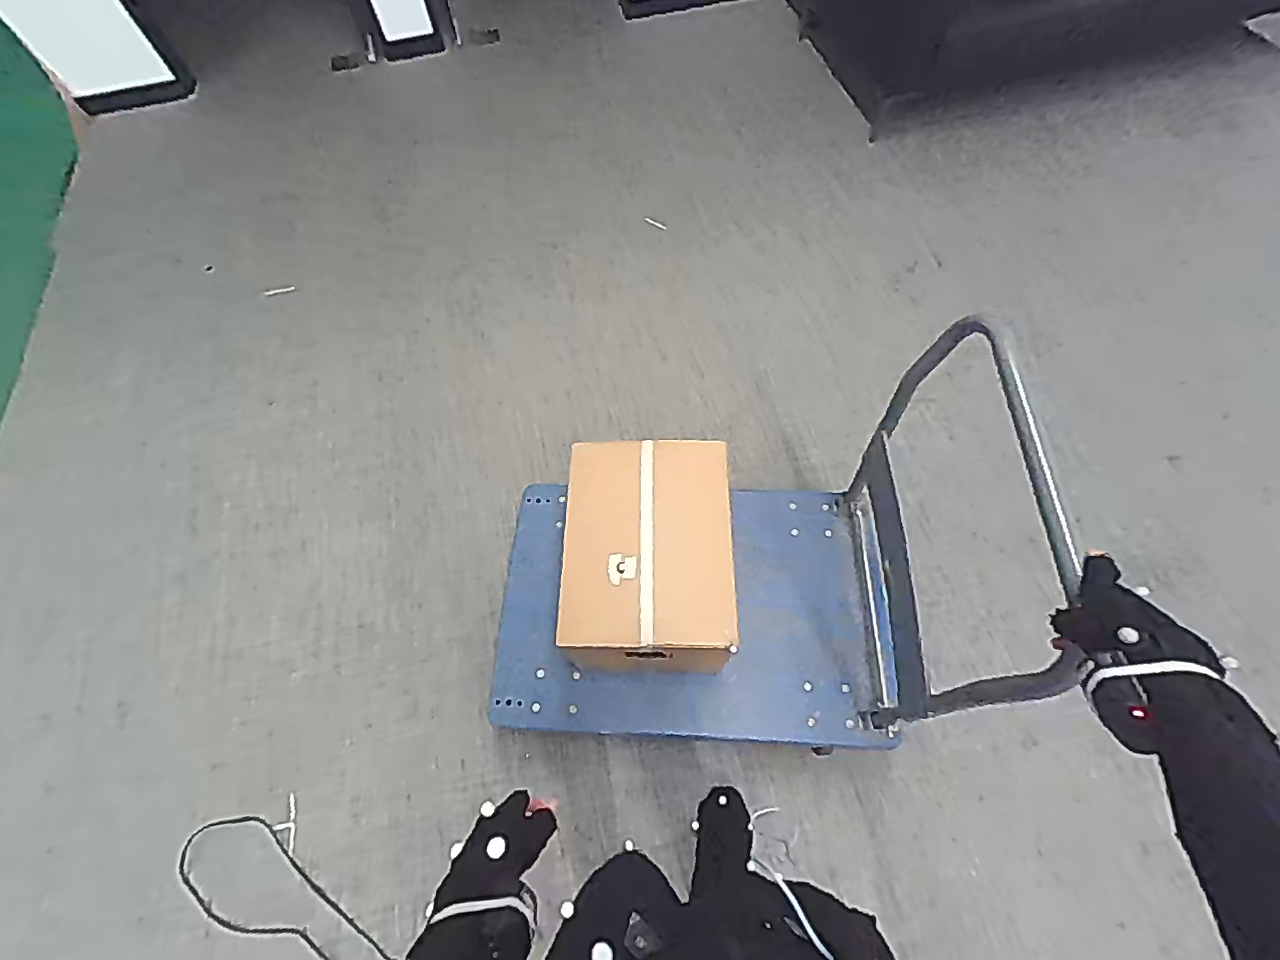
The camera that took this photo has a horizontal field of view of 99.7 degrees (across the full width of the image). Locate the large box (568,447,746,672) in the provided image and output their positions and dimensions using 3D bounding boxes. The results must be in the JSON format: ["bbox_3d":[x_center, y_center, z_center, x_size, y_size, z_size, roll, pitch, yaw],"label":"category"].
[{"bbox_3d":[0.028,0.178,1.145,0.320,0.320,0.408,-2,64,2],"label":"large box"}]
